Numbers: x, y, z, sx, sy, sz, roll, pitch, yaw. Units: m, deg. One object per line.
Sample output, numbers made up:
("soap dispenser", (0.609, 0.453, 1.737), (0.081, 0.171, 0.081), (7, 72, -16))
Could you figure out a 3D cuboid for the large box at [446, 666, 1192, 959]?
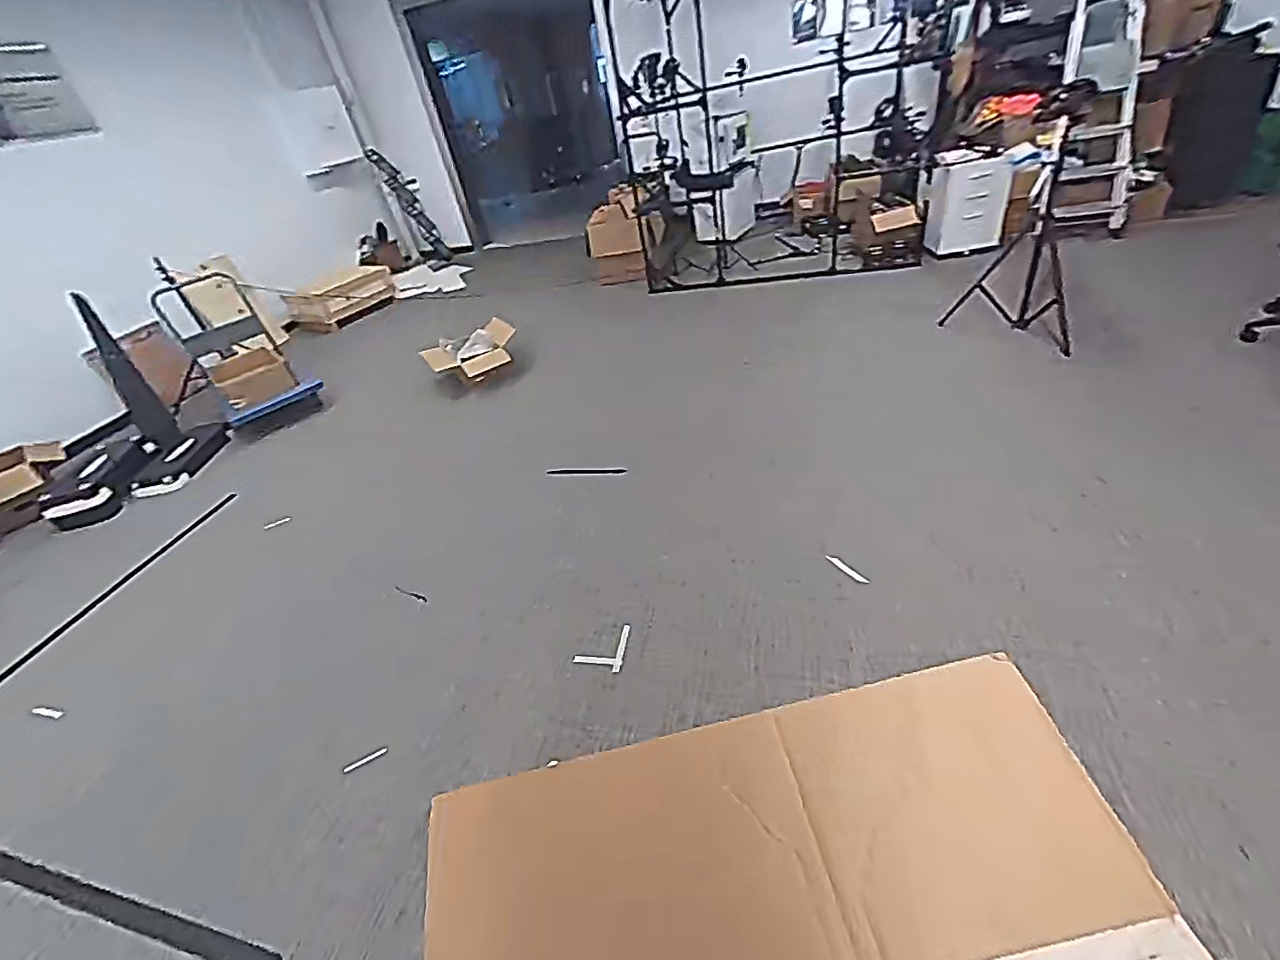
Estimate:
("large box", (0.112, 0.387, 0.389), (0.408, 0.320, 0.320), (-15, 50, 0))
